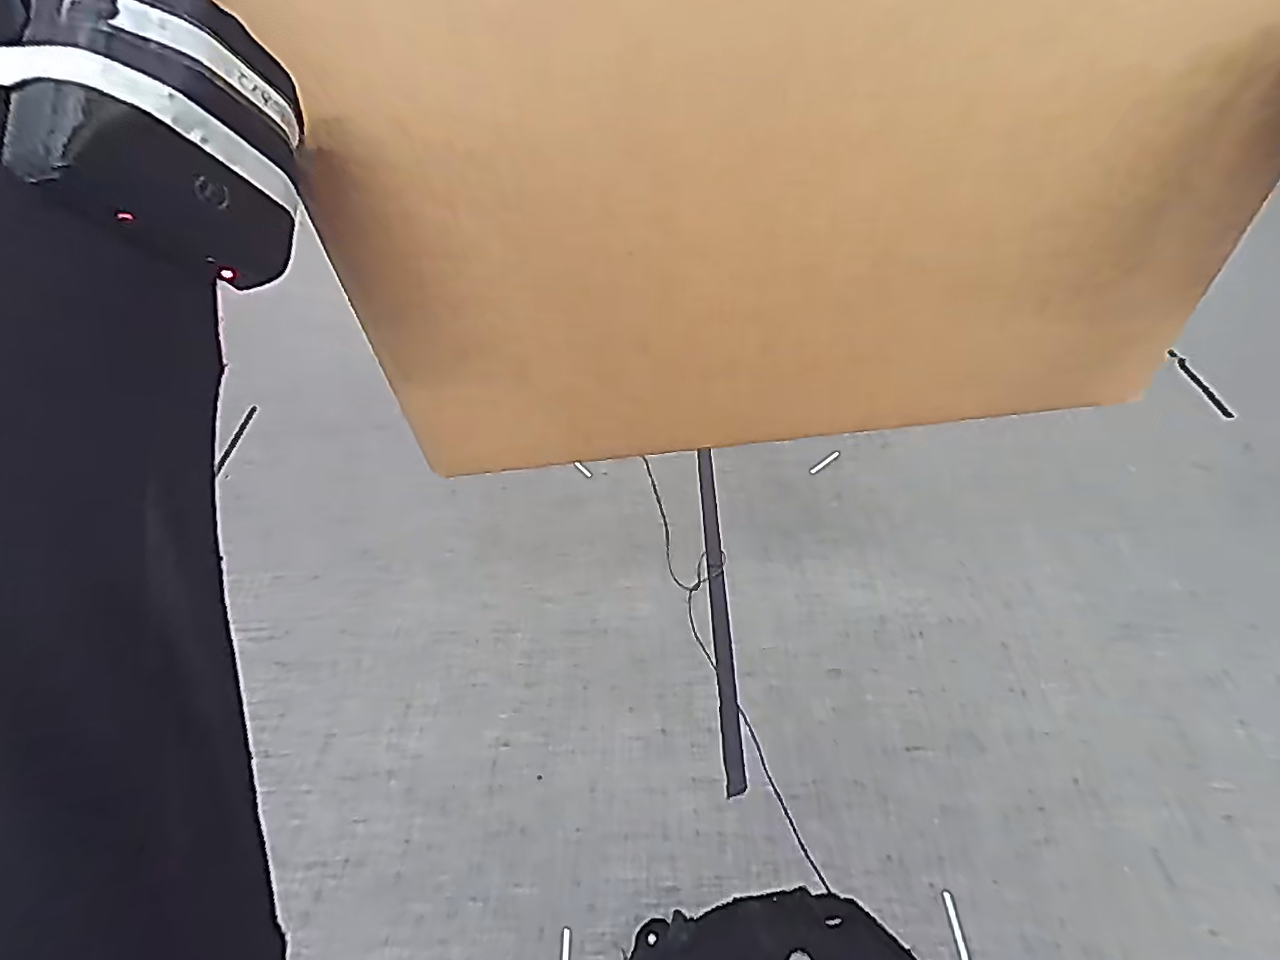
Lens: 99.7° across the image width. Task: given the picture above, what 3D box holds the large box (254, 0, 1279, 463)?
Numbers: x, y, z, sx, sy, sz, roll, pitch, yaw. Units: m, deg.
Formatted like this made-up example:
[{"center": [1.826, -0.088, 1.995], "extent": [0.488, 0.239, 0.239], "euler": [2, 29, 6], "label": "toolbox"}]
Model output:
[{"center": [0.056, -0.238, 0.328], "extent": [0.408, 0.320, 0.320], "euler": [-6, 43, -1], "label": "large box"}]
